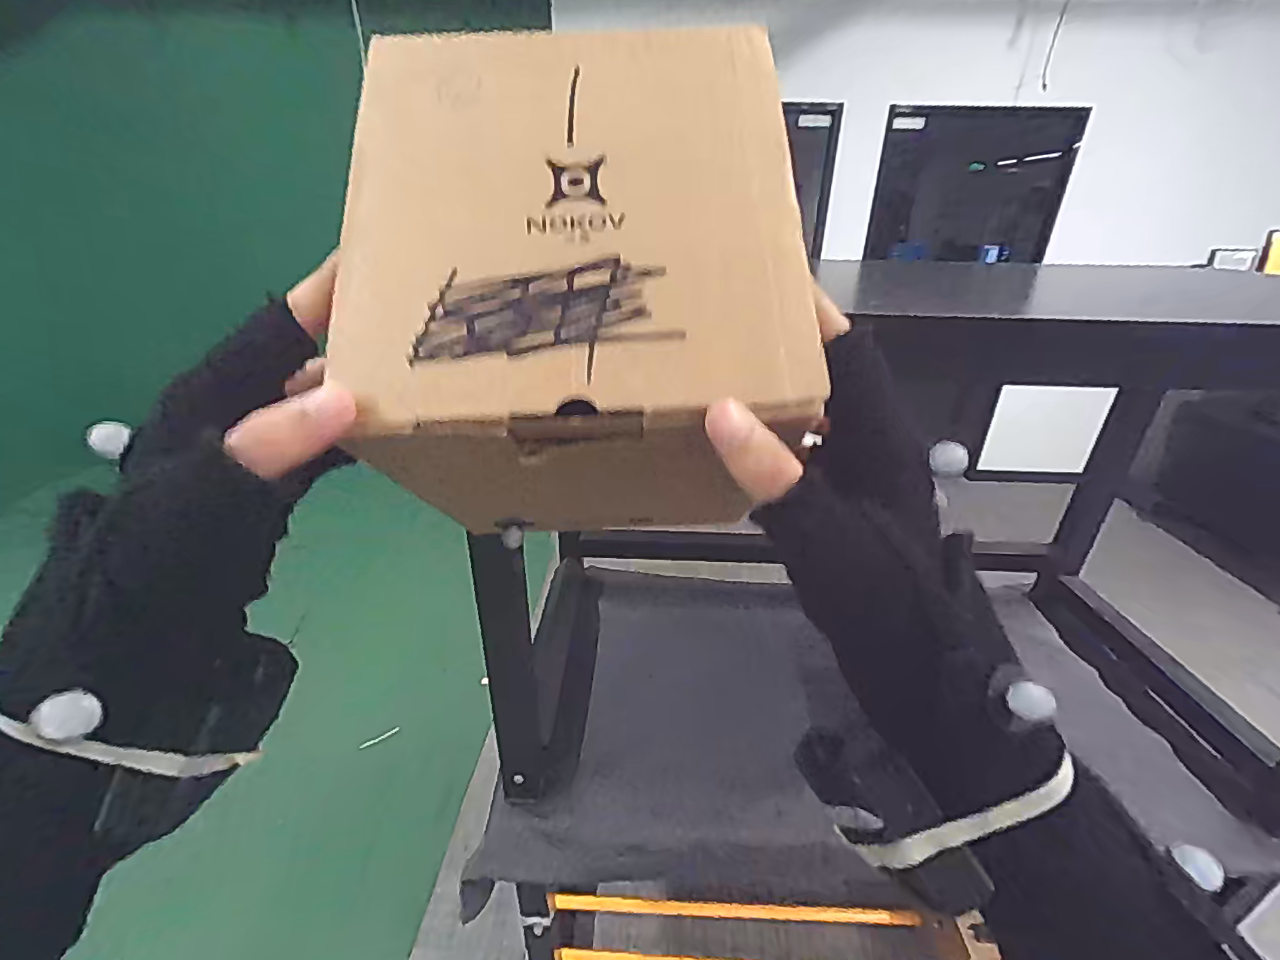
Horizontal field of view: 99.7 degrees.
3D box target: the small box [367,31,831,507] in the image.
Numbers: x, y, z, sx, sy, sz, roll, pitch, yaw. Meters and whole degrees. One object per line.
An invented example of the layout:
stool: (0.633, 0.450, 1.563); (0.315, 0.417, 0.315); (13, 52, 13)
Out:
small box: (-0.016, -0.086, 0.287); (0.168, 0.179, 0.176); (-2, -18, -1)
